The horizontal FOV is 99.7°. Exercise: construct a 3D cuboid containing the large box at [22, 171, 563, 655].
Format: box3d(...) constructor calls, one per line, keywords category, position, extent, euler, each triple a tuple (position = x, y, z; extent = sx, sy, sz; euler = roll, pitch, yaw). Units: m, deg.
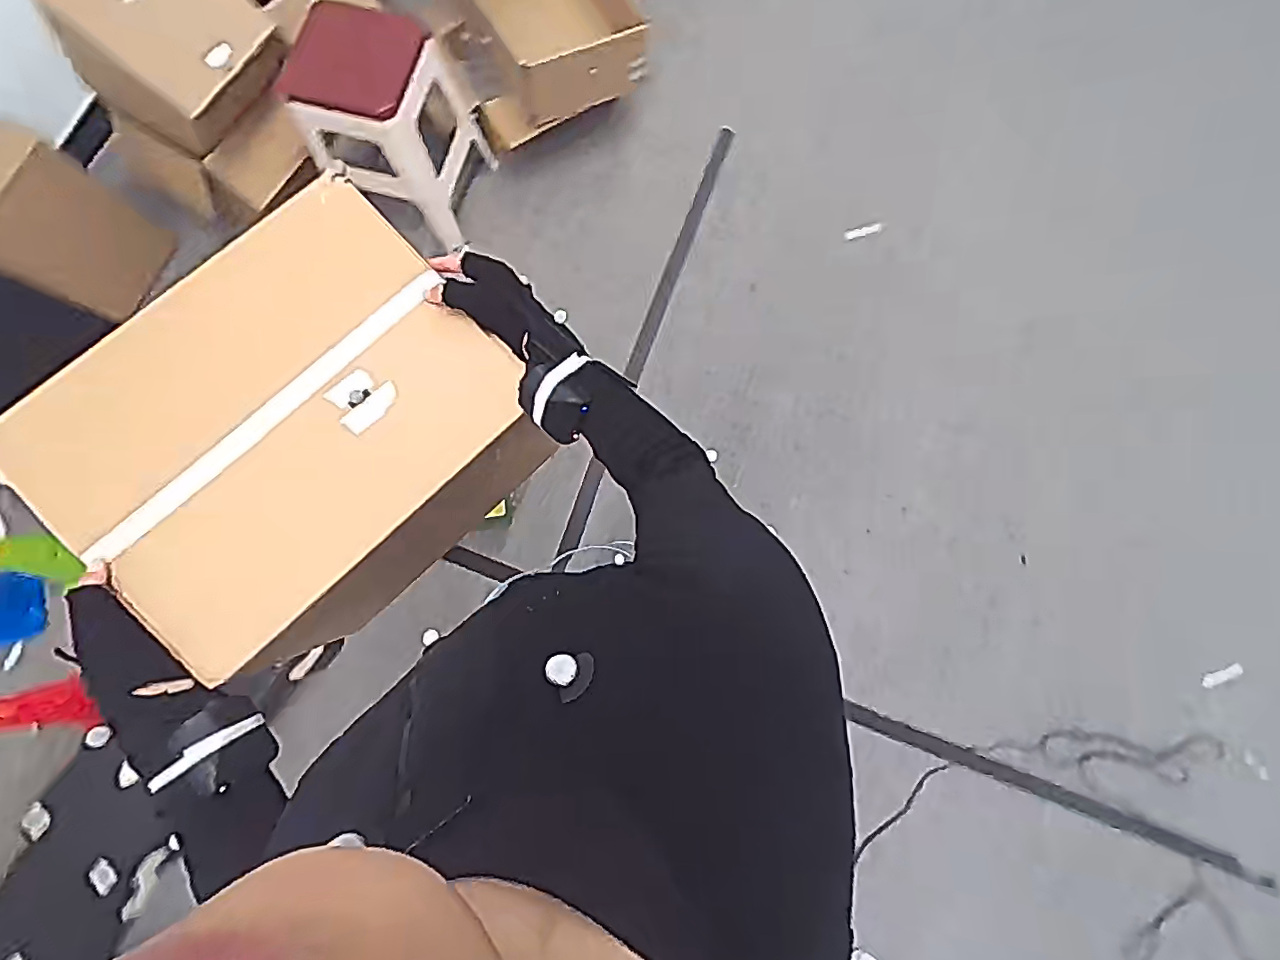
box3d(category="large box", position=(-0.348, -0.060, 0.674), extent=(0.408, 0.320, 0.320), euler=(-42, 90, -9))
